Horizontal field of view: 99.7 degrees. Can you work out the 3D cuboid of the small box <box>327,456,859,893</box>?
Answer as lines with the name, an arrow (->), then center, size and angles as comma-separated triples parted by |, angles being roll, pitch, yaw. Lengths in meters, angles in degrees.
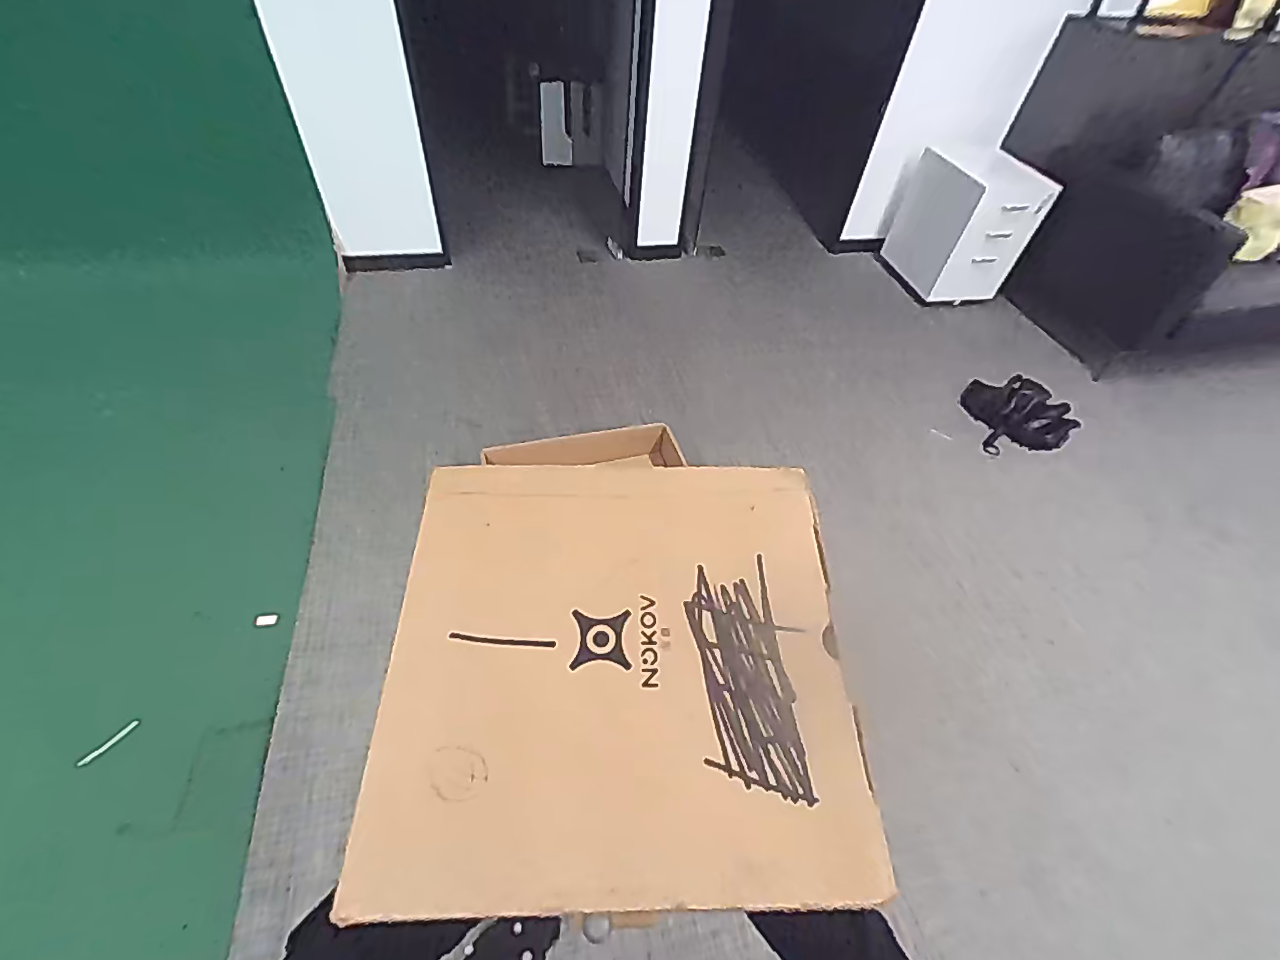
small box -> -0.016, 0.104, 0.283 | 0.179, 0.176, 0.168 | 1, 57, -2
